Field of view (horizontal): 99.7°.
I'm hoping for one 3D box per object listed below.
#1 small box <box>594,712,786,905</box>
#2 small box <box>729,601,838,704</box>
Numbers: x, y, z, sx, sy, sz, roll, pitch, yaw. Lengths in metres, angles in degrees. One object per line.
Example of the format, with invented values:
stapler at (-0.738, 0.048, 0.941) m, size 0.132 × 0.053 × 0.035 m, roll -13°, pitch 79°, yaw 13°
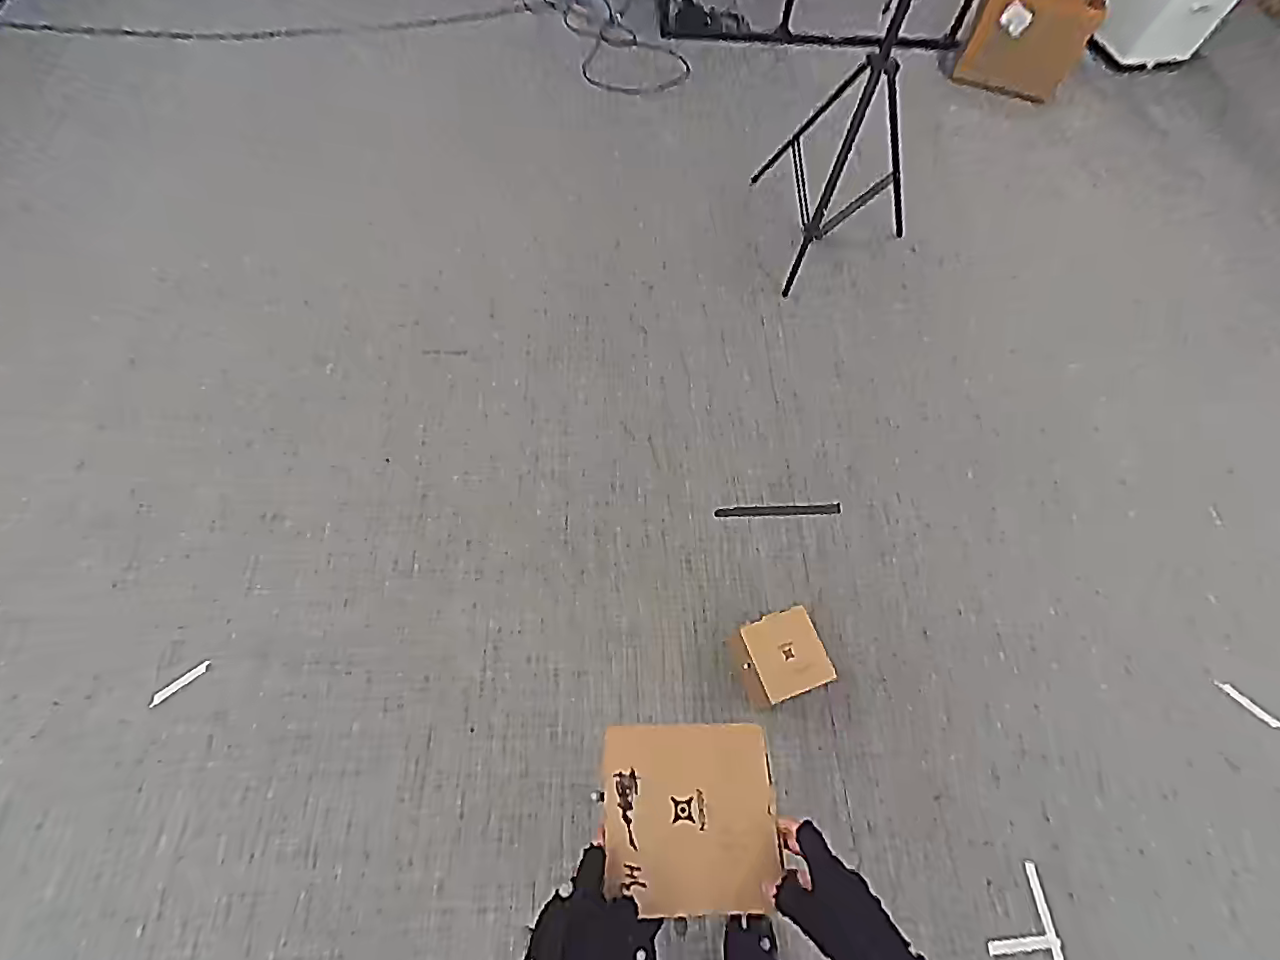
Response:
small box at (0.041, 0.369, 0.605) m, size 0.179 × 0.176 × 0.168 m, roll 2°, pitch 51°, yaw -5°
small box at (0.324, 0.409, 1.271) m, size 0.168 × 0.176 × 0.179 m, roll -18°, pitch 67°, yaw -10°
